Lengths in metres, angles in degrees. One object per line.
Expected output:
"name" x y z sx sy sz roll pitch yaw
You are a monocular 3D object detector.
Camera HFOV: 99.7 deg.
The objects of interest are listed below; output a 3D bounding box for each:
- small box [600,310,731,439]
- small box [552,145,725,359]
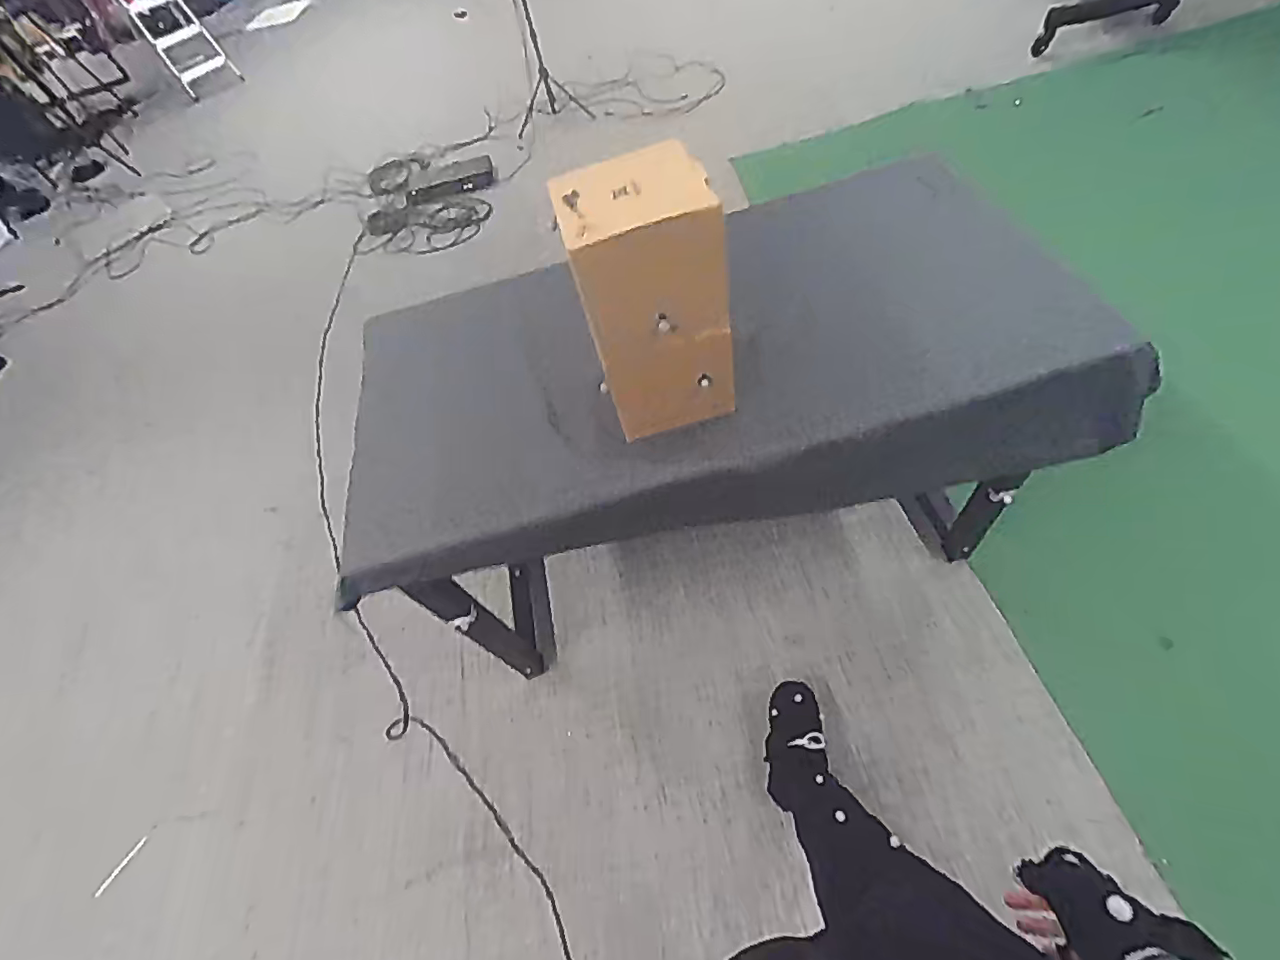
"small box" 0.032 -0.189 0.819 0.179 0.176 0.168 -17 54 1
"small box" 0.002 -0.284 0.689 0.179 0.176 0.168 -16 54 0
